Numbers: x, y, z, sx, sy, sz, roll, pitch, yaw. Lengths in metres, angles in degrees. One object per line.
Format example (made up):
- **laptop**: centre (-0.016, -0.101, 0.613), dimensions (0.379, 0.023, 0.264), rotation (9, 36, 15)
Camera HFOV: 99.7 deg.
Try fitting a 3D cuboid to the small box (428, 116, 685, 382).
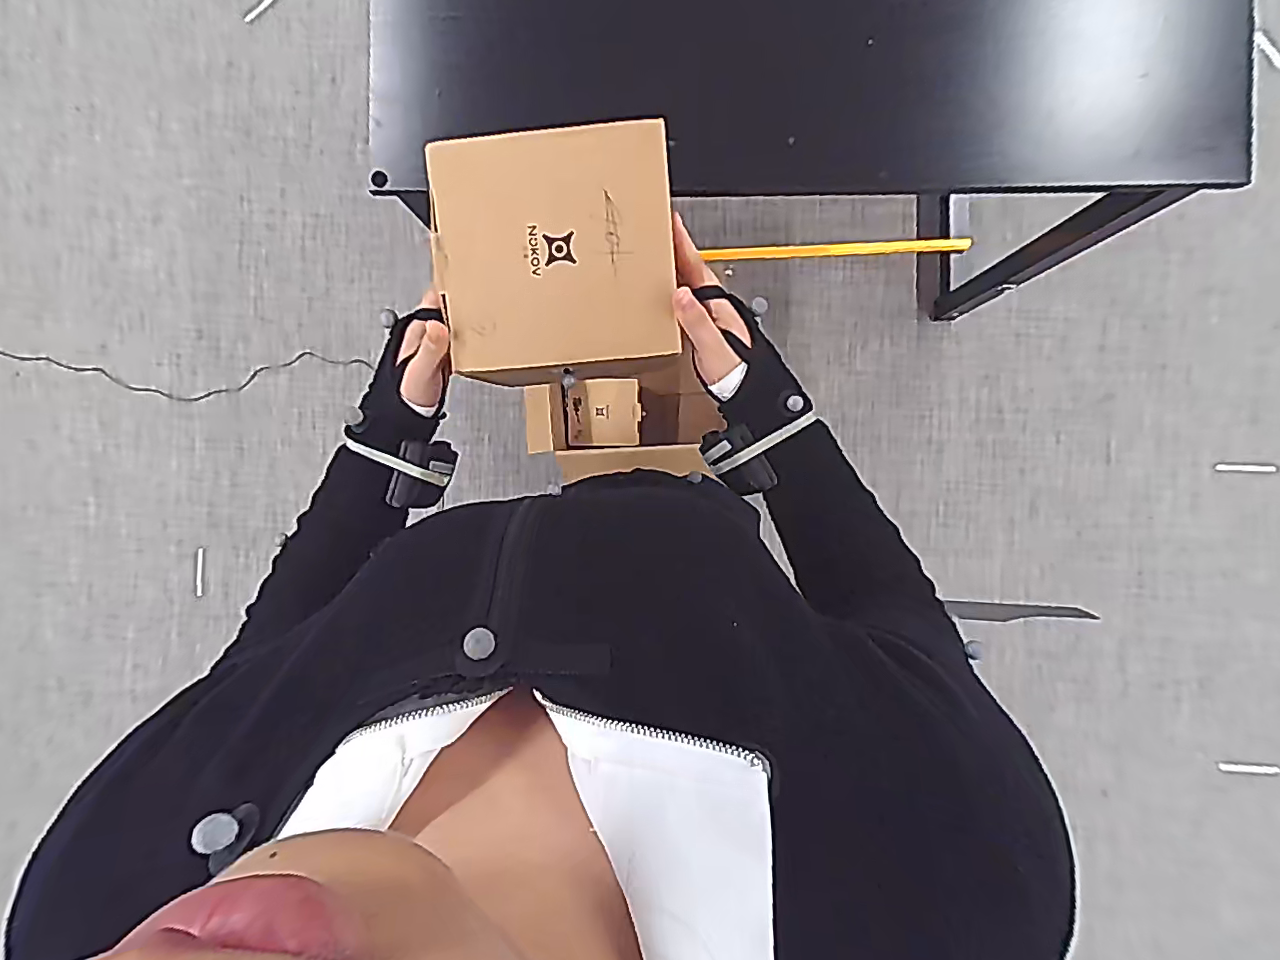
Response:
- **small box**: centre (-0.057, -0.177, 0.467), dimensions (0.179, 0.176, 0.168), rotation (-5, 97, 1)
